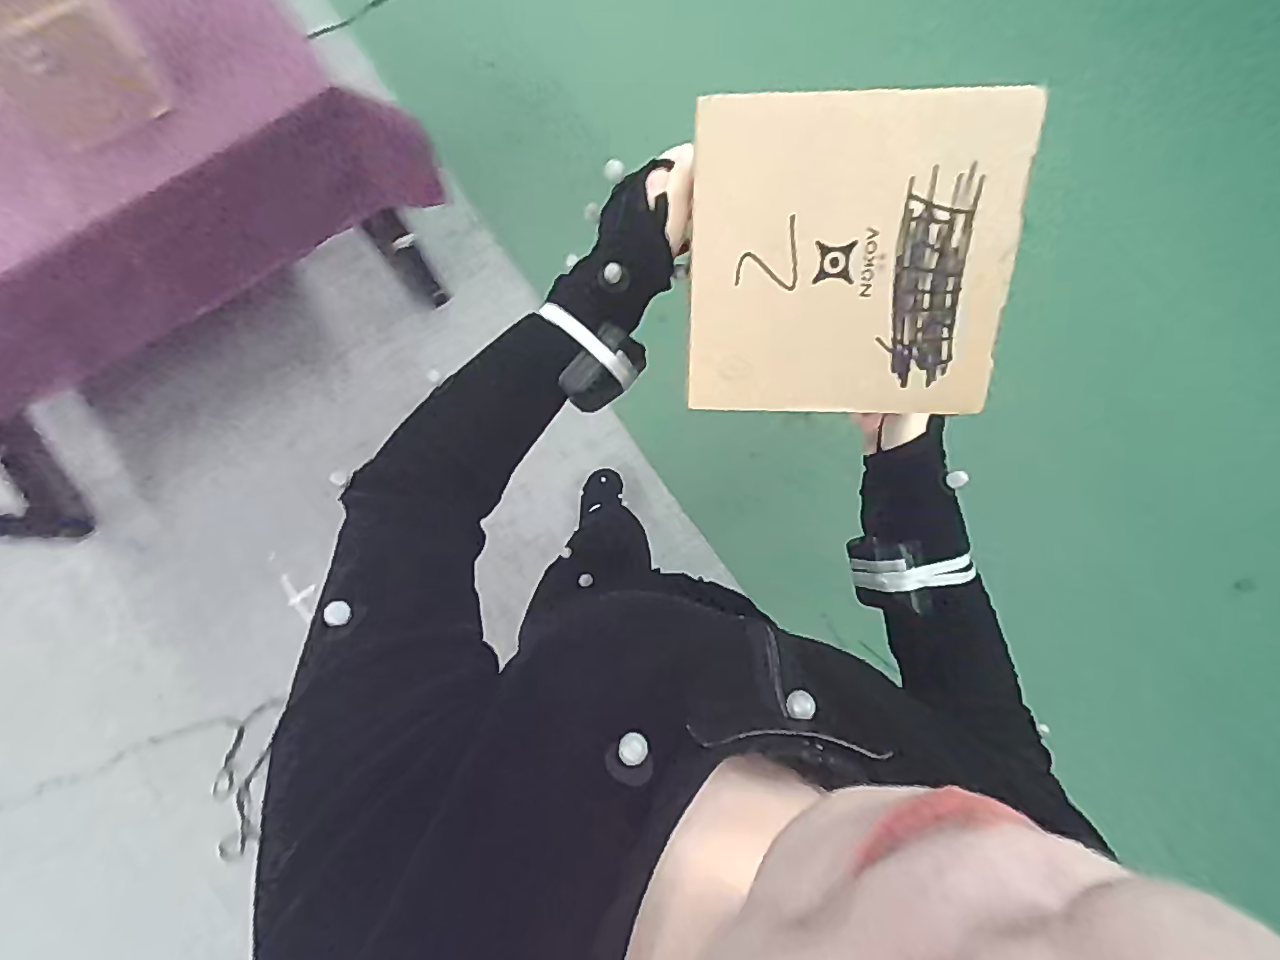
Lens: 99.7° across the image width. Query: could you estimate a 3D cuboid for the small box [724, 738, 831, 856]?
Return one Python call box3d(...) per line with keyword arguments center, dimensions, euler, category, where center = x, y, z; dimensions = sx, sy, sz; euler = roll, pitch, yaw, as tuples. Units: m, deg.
box3d(center=(0.336, 0.782, 1.363), dimensions=(0.179, 0.176, 0.168), euler=(38, 81, 3), category="small box")
